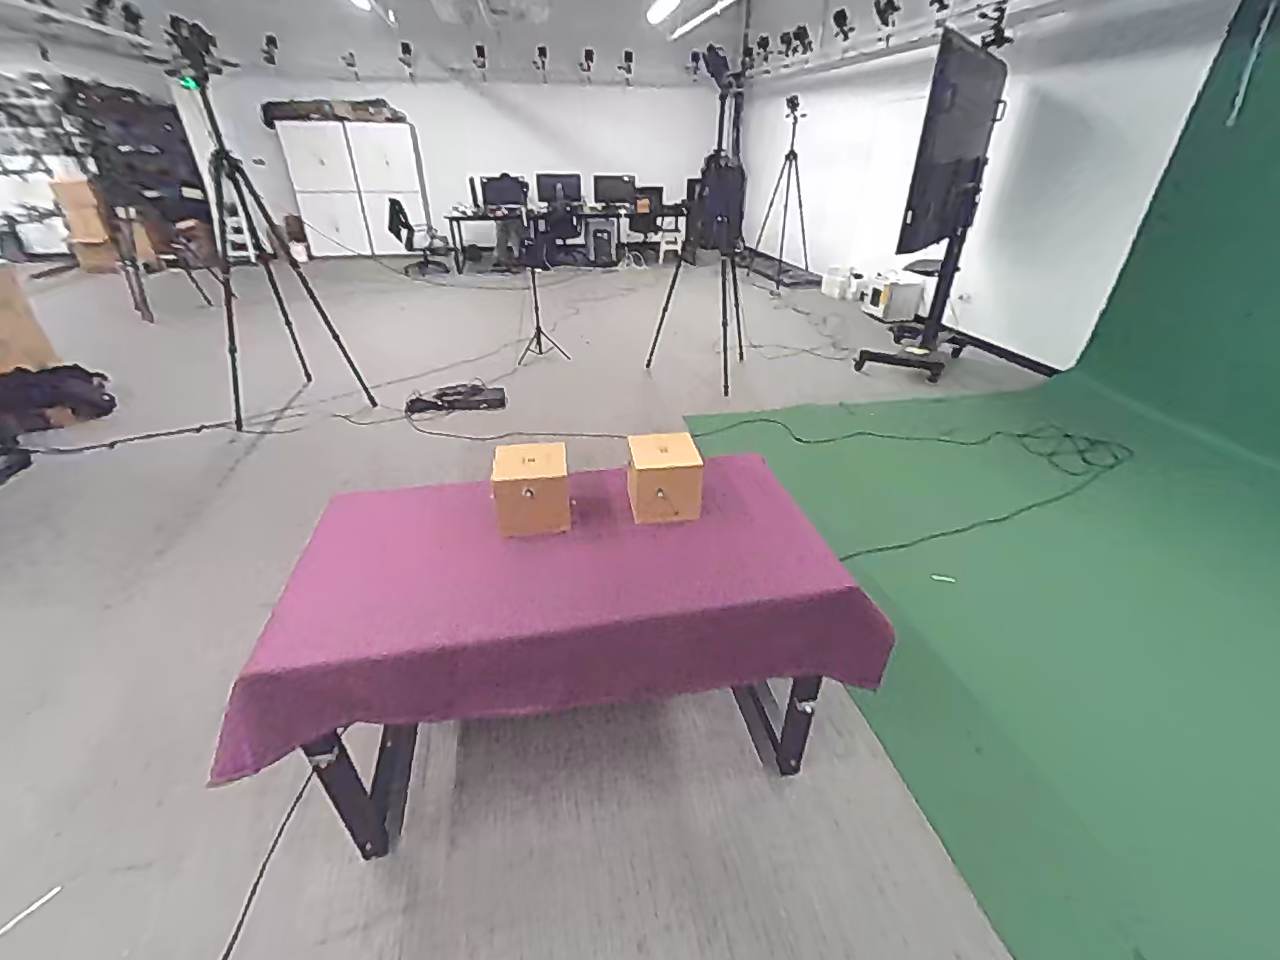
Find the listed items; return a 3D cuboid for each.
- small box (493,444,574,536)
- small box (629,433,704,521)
[{"bbox_3d":[-0.259,0.026,1.346,0.179,0.176,0.168,-4,32,-6],"label":"small box"},{"bbox_3d":[0.065,-0.004,1.390,0.168,0.176,0.179,-5,31,-6],"label":"small box"}]
